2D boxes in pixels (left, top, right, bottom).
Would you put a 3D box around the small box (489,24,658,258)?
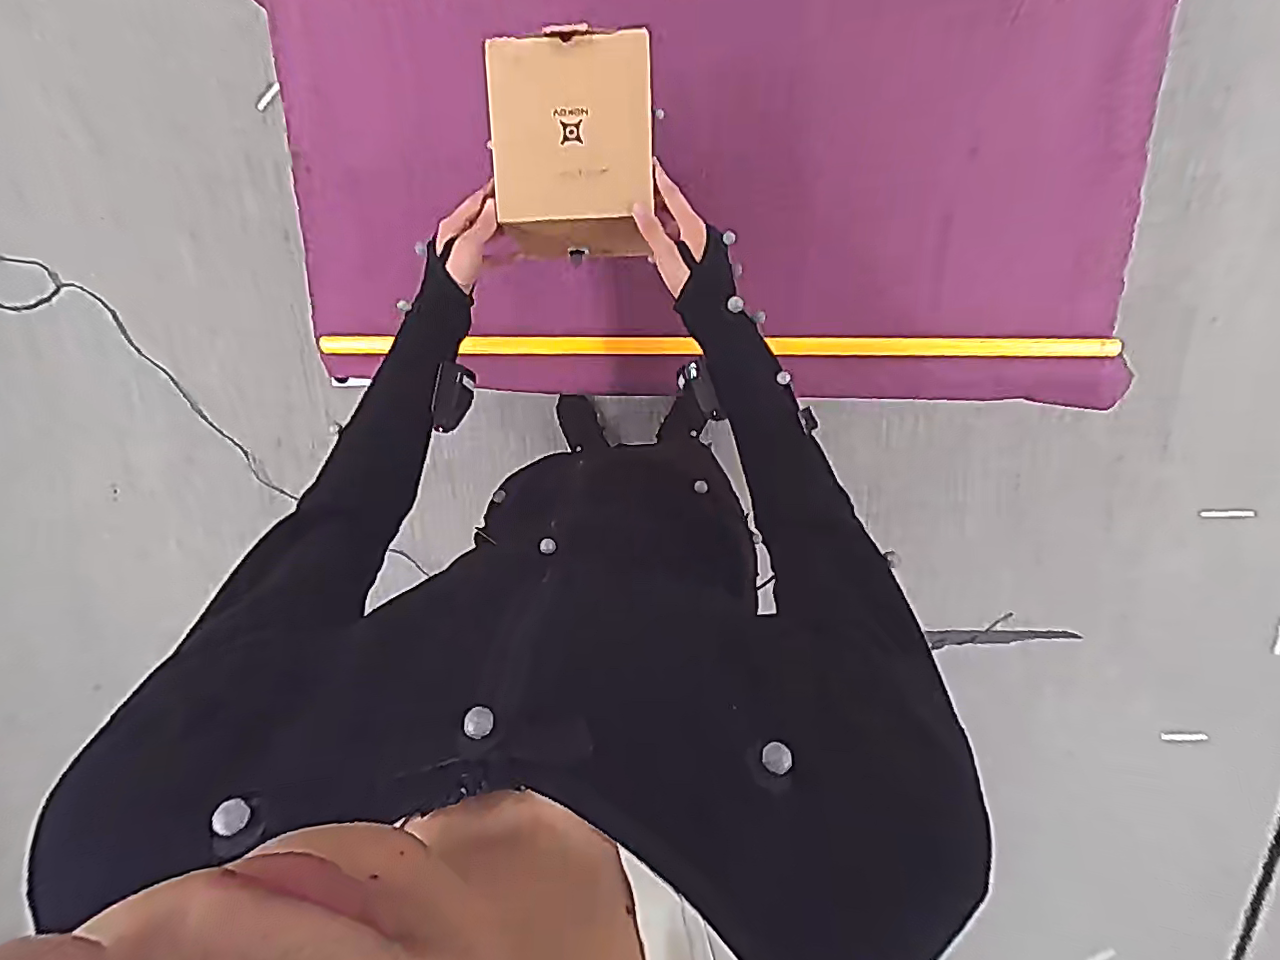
[{"bbox_3d":[-0.065,-0.371,0.622,0.168,0.176,0.179,-2,98,2],"label":"small box"}]
